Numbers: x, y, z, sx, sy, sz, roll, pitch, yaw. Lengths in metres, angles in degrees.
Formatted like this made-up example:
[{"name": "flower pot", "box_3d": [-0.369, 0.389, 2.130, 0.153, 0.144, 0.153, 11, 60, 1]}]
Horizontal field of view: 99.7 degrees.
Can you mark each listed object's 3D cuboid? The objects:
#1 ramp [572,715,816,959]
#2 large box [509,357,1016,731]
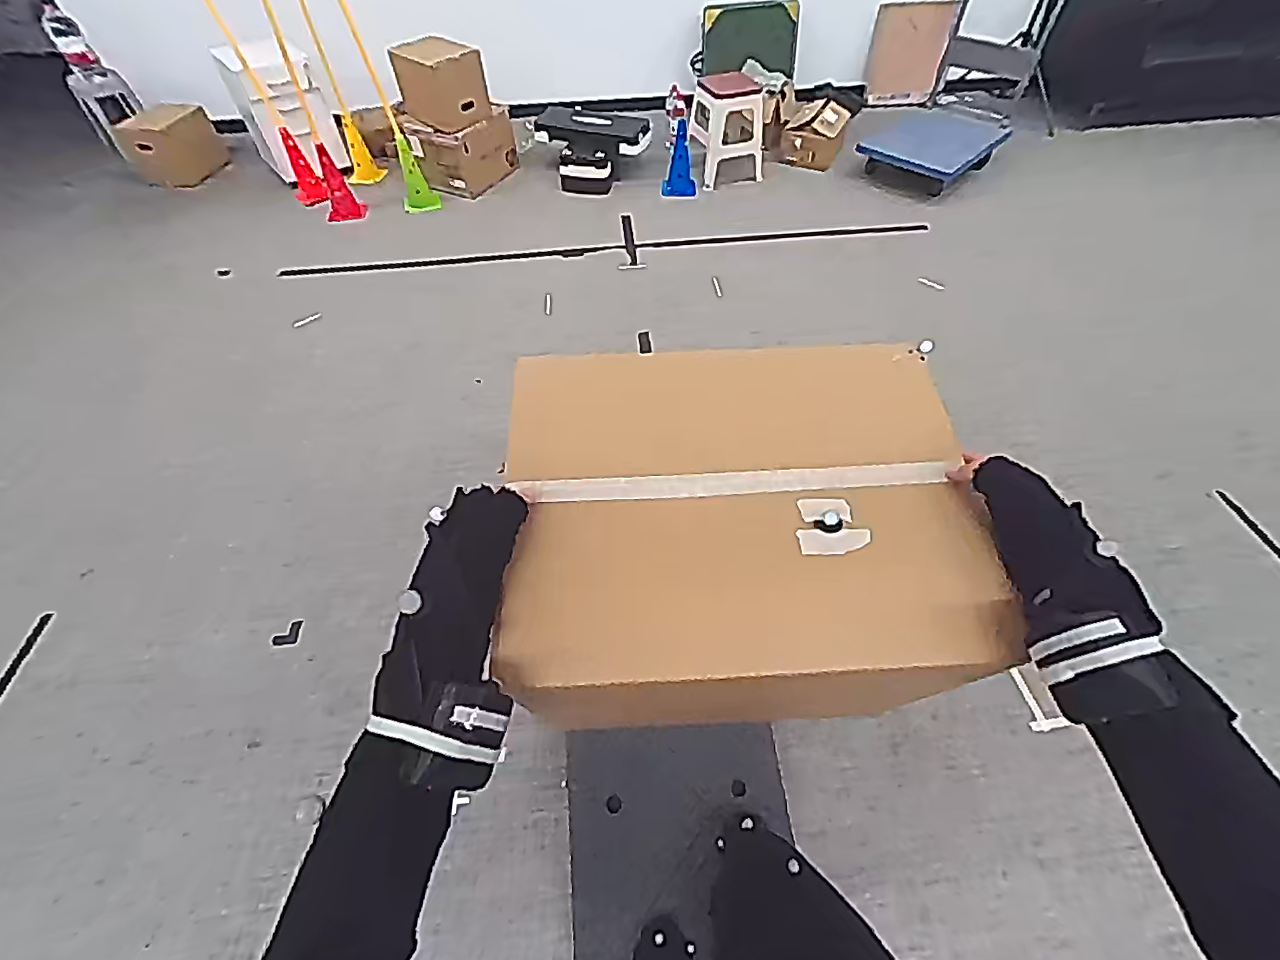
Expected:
[{"name": "ramp", "box_3d": [0.073, 0.531, 1.339, 0.509, 0.206, 0.991, -7, 52, -5]}, {"name": "large box", "box_3d": [0.086, 0.088, 0.615, 0.408, 0.320, 0.320, -3, 60, -2]}]
